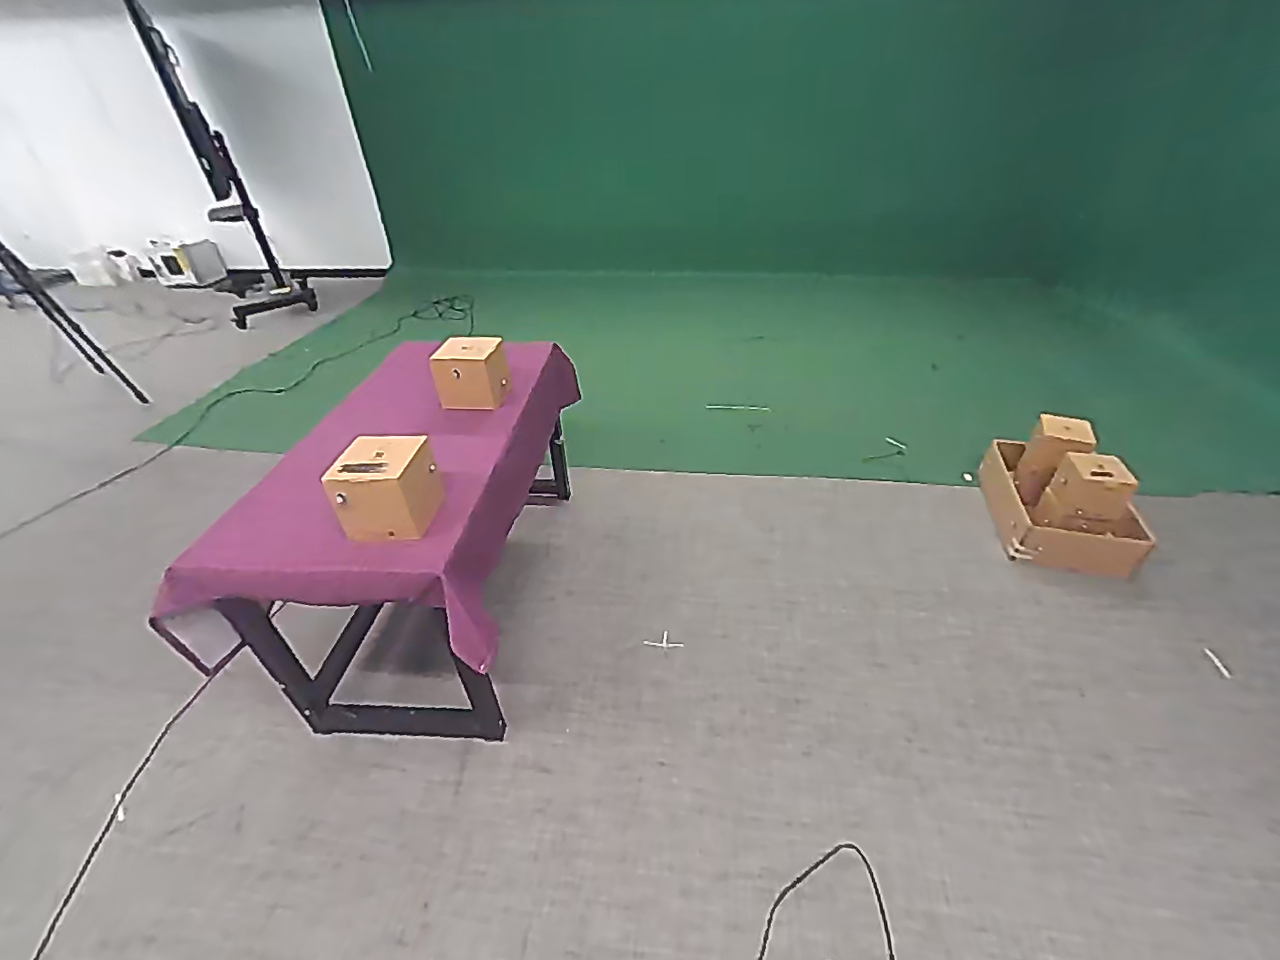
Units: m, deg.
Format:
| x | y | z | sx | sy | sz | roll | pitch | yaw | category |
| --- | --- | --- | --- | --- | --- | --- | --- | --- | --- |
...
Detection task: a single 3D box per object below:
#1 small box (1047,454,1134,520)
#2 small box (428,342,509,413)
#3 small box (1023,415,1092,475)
| x | y | z | sx | sy | sz | roll | pitch | yaw | category |
| --- | --- | --- | --- | --- | --- | --- | --- | --- | --- |
| 1.632 | 0.026 | 1.969 | 0.168 | 0.176 | 0.179 | 7 | 36 | 13 | small box |
| -0.528 | -0.319 | 1.686 | 0.179 | 0.176 | 0.168 | 2 | 37 | 6 | small box |
| 1.678 | -0.135 | 2.184 | 0.168 | 0.176 | 0.179 | 14 | 42 | 21 | small box |
